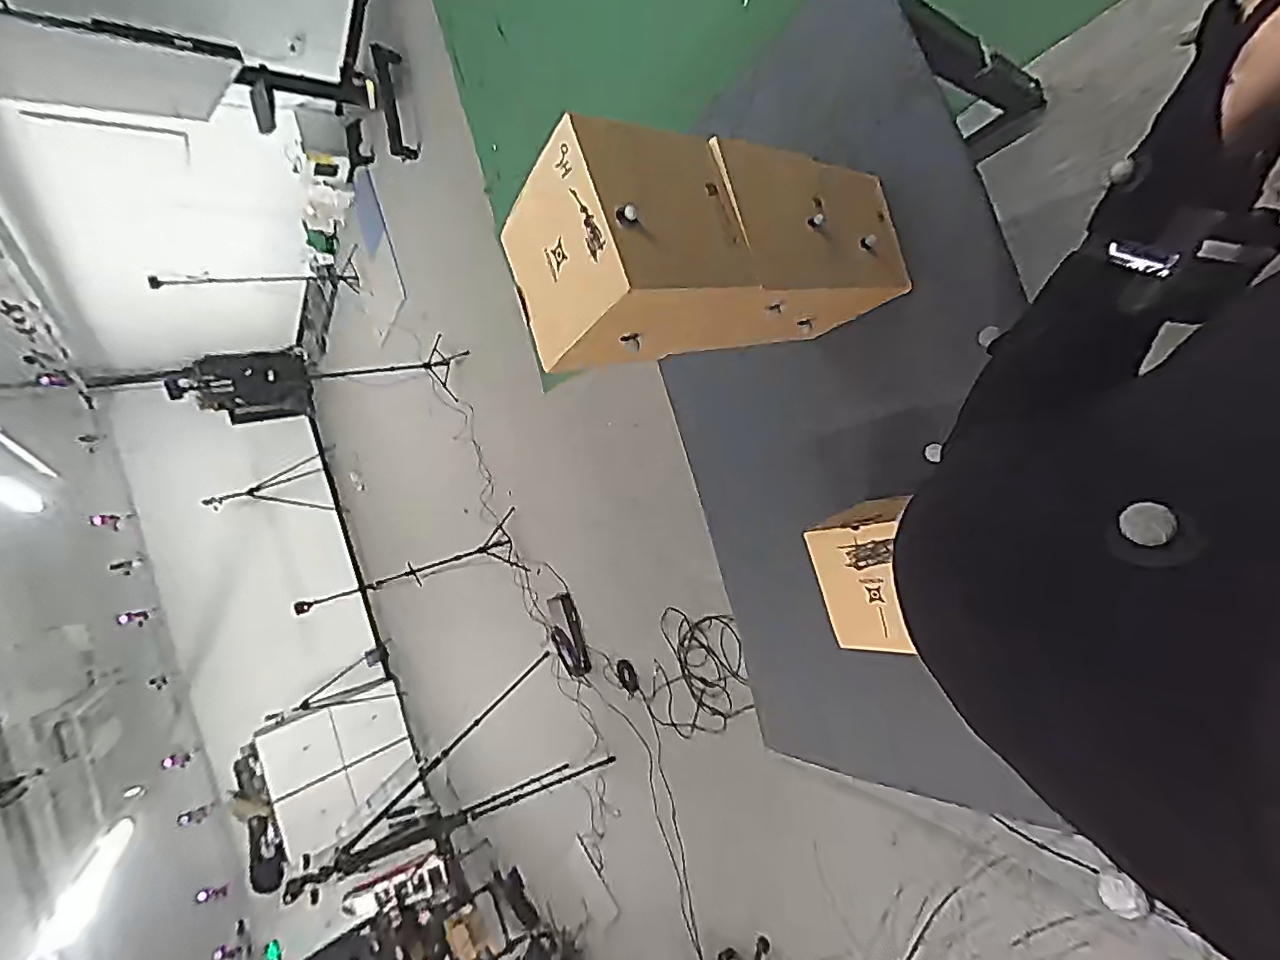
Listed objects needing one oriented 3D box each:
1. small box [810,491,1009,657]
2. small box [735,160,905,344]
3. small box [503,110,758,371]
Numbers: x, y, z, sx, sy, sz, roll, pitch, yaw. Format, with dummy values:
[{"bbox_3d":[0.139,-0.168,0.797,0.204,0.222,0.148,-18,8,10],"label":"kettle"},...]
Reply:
[{"bbox_3d":[0.370,0.120,0.743,0.168,0.176,0.179,-17,91,53],"label":"small box"},{"bbox_3d":[0.239,-0.305,0.749,0.179,0.176,0.168,-18,89,54],"label":"small box"},{"bbox_3d":[-0.013,-0.227,0.553,0.179,0.176,0.168,-24,85,54],"label":"small box"}]
